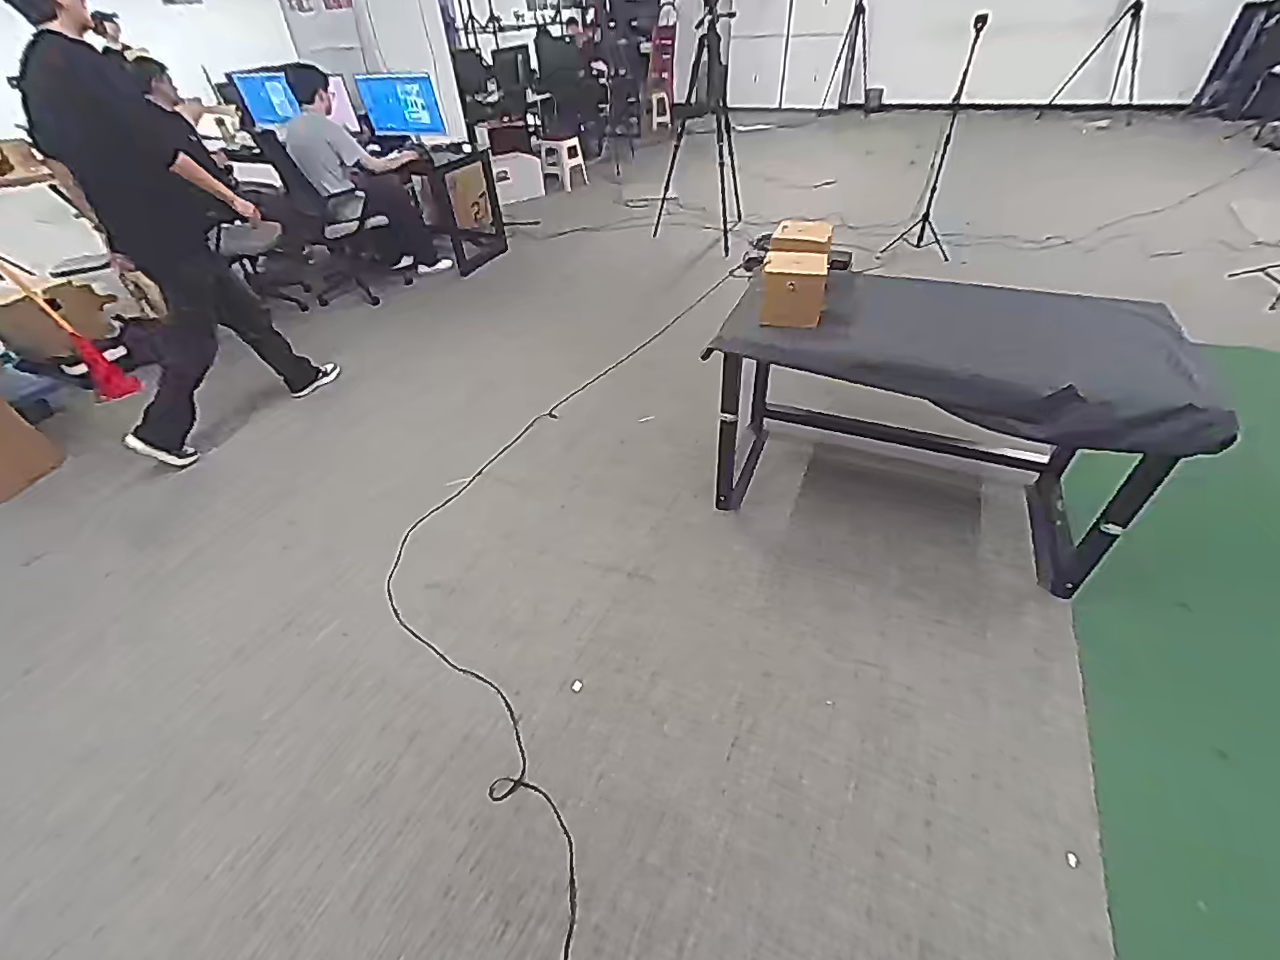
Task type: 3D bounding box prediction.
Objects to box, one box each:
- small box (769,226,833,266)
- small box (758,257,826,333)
[{"bbox_3d":[0.539,-0.739,1.835,0.179,0.176,0.168,15,45,18],"label":"small box"},{"bbox_3d":[0.458,-0.560,1.639,0.179,0.176,0.168,9,43,11],"label":"small box"}]
